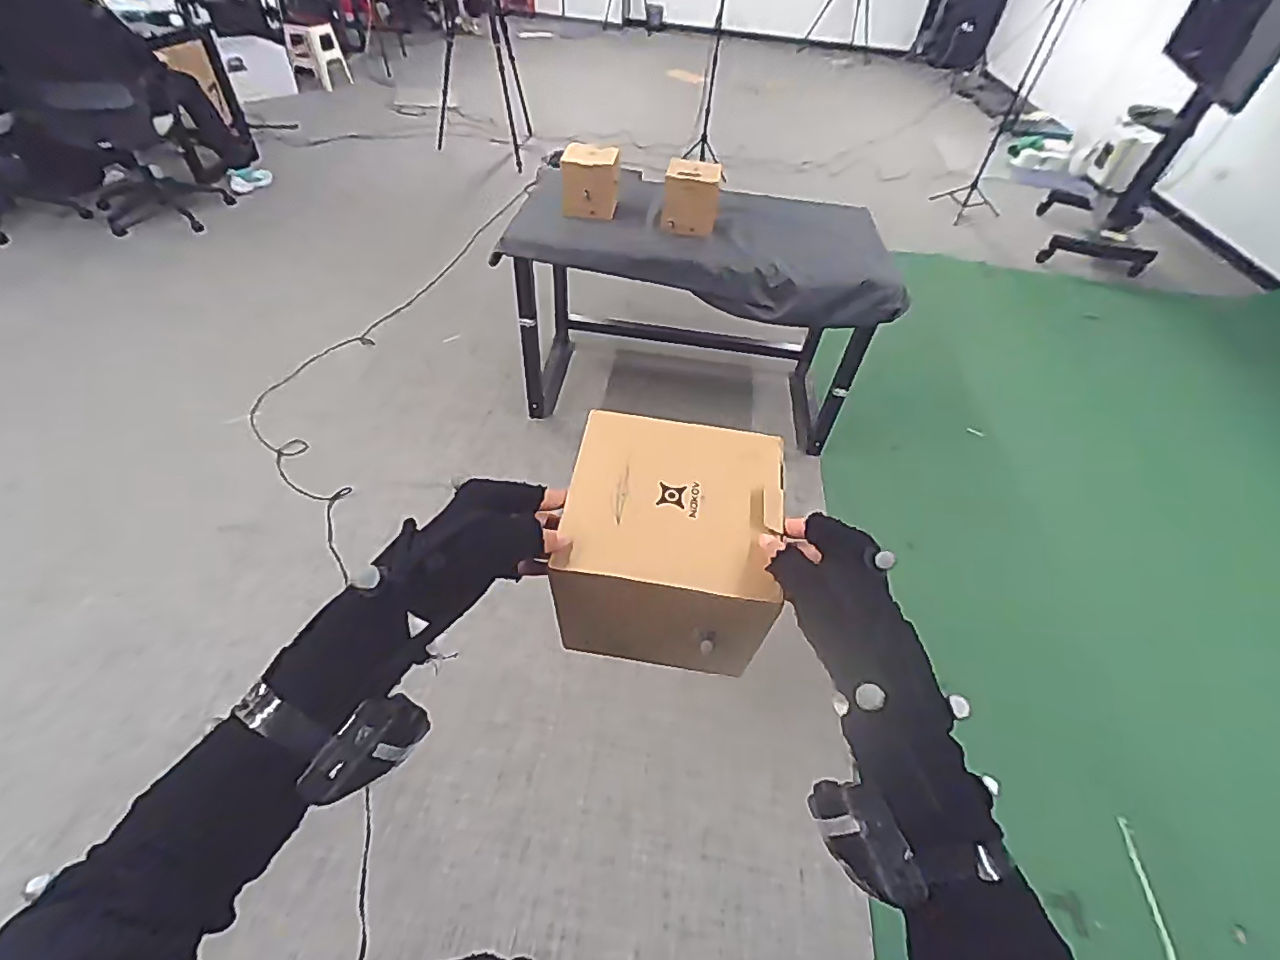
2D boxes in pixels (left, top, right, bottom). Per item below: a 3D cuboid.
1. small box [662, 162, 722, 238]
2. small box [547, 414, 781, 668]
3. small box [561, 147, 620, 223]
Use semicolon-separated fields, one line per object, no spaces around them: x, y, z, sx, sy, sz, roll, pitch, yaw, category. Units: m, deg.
0.166;-0.902;1.745;0.168;0.176;0.179;9;46;3;small box
0.026;0.063;0.507;0.179;0.176;0.168;7;52;4;small box
-0.158;-0.964;1.773;0.168;0.176;0.179;7;48;1;small box
